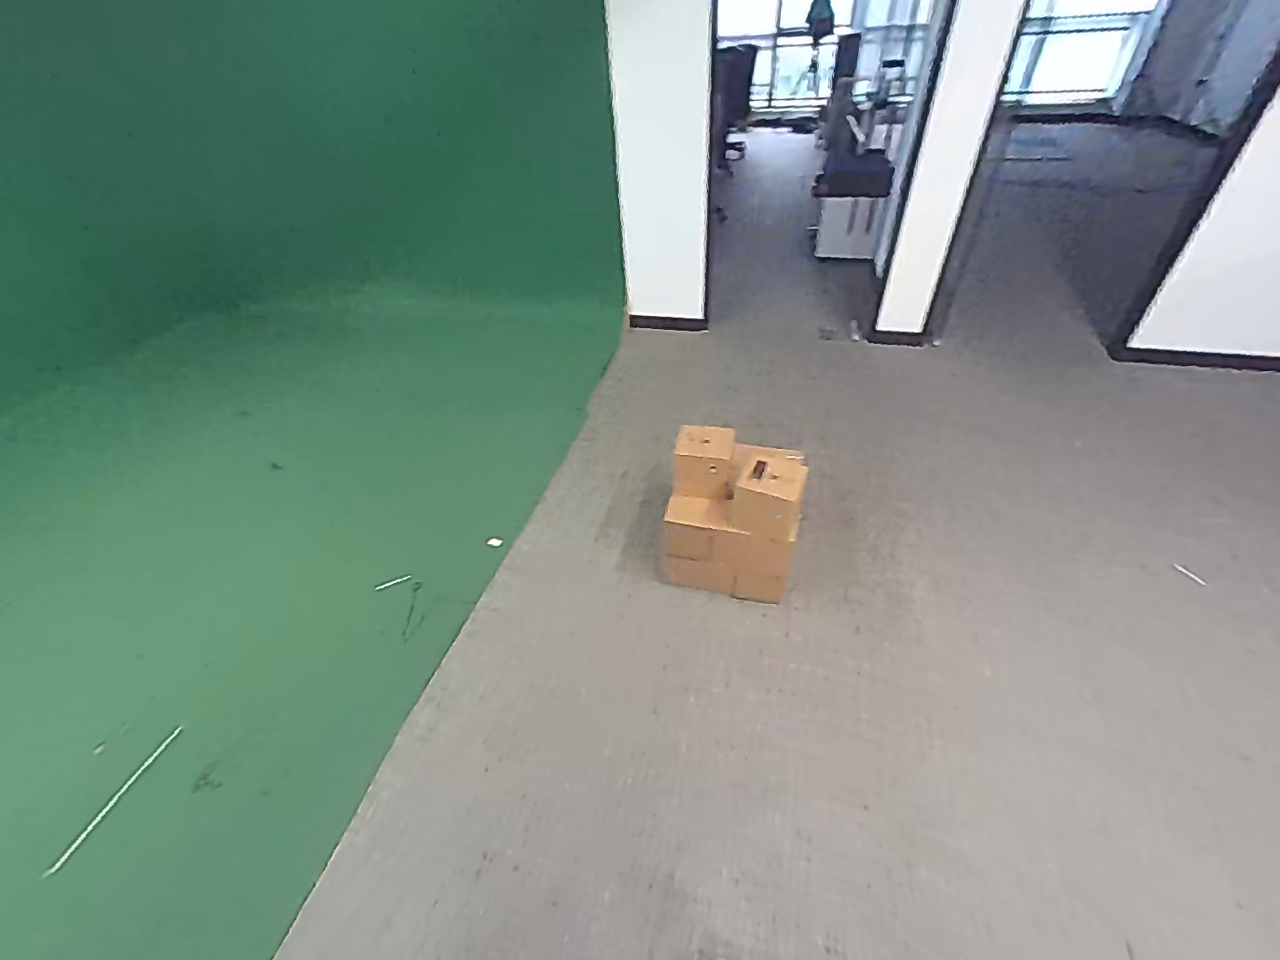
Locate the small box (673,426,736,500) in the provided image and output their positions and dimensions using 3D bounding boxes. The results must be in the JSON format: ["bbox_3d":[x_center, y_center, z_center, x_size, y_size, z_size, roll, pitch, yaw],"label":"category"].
[{"bbox_3d":[0.208,-0.052,1.748,0.179,0.176,0.168,7,40,13],"label":"small box"}]
